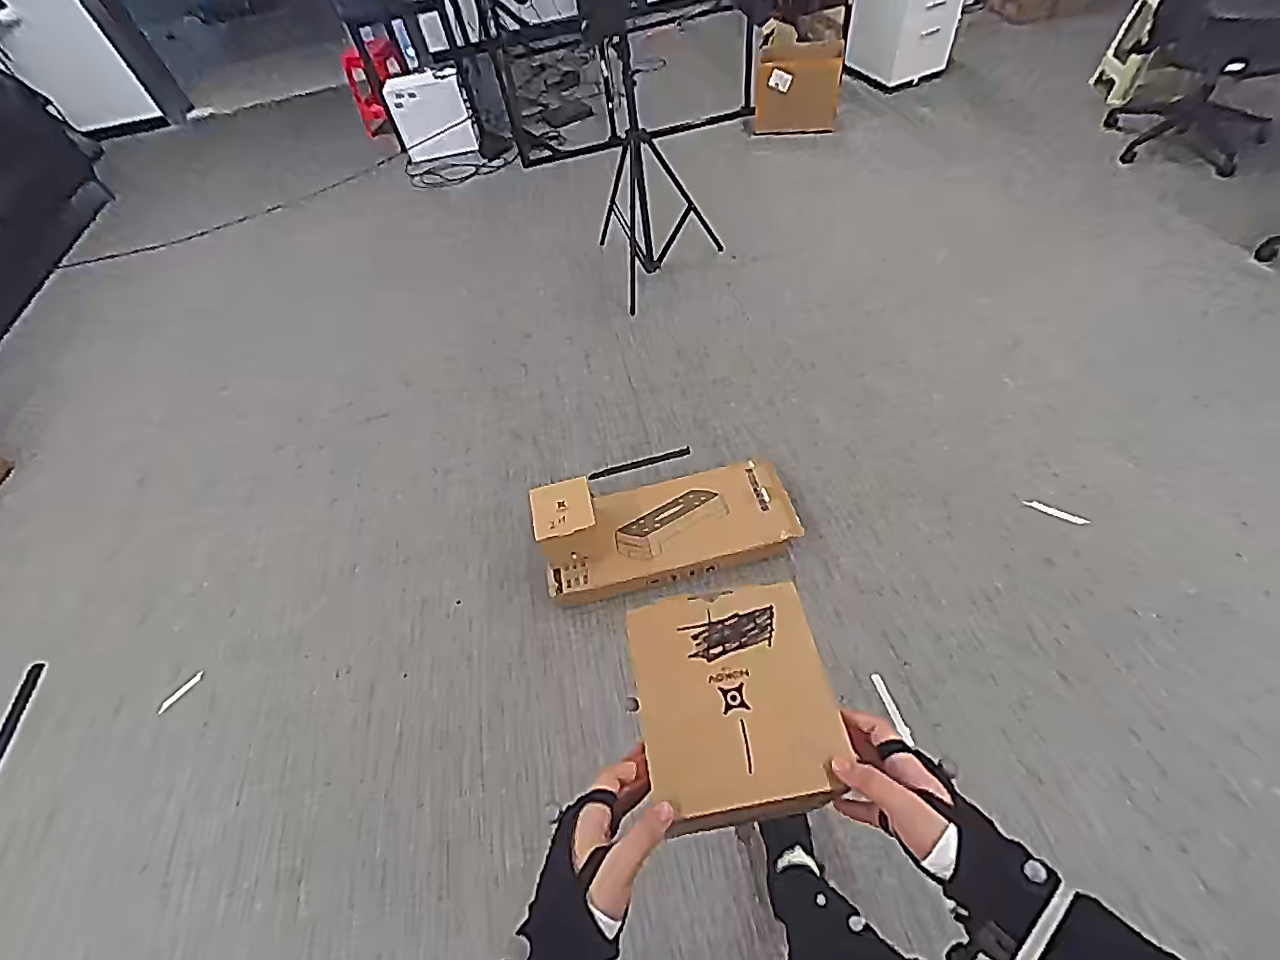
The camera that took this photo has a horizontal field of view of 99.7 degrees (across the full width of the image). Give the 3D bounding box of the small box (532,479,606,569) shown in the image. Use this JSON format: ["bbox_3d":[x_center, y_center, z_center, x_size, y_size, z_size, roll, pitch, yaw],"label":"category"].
[{"bbox_3d":[-0.201,0.127,1.535,0.168,0.176,0.179,-14,53,-2],"label":"small box"}]

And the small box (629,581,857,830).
[{"bbox_3d":[0.083,0.226,0.535,0.168,0.176,0.179,-9,53,-2],"label":"small box"}]
